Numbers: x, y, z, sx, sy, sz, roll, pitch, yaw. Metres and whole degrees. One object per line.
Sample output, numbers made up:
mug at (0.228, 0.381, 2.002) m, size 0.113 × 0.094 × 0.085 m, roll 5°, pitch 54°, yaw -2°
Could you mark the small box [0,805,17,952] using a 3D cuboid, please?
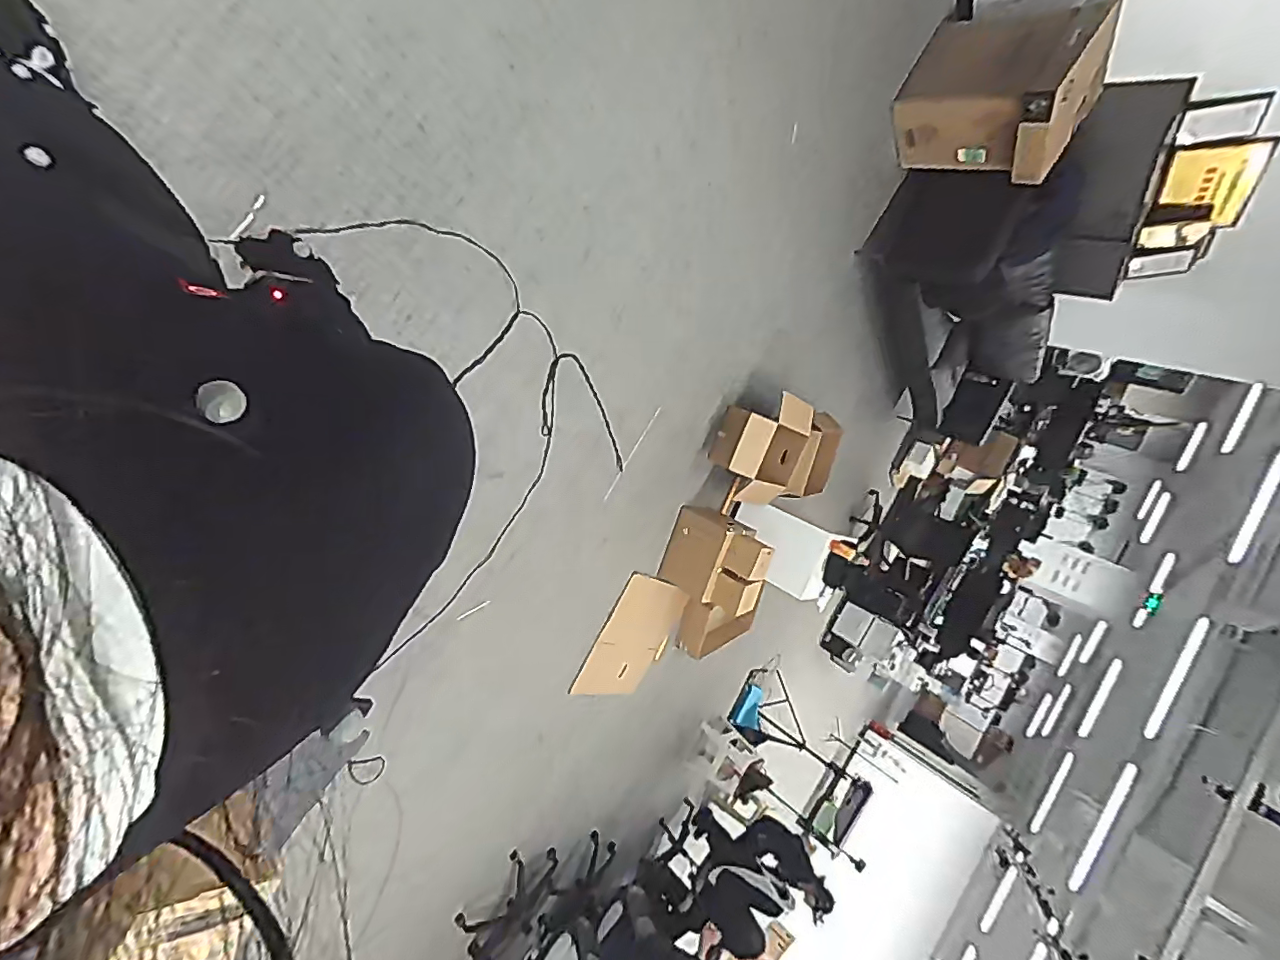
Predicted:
small box at (-0.768, 0.456, 0.524) m, size 0.179 × 0.176 × 0.168 m, roll -58°, pitch 143°, yaw -7°
